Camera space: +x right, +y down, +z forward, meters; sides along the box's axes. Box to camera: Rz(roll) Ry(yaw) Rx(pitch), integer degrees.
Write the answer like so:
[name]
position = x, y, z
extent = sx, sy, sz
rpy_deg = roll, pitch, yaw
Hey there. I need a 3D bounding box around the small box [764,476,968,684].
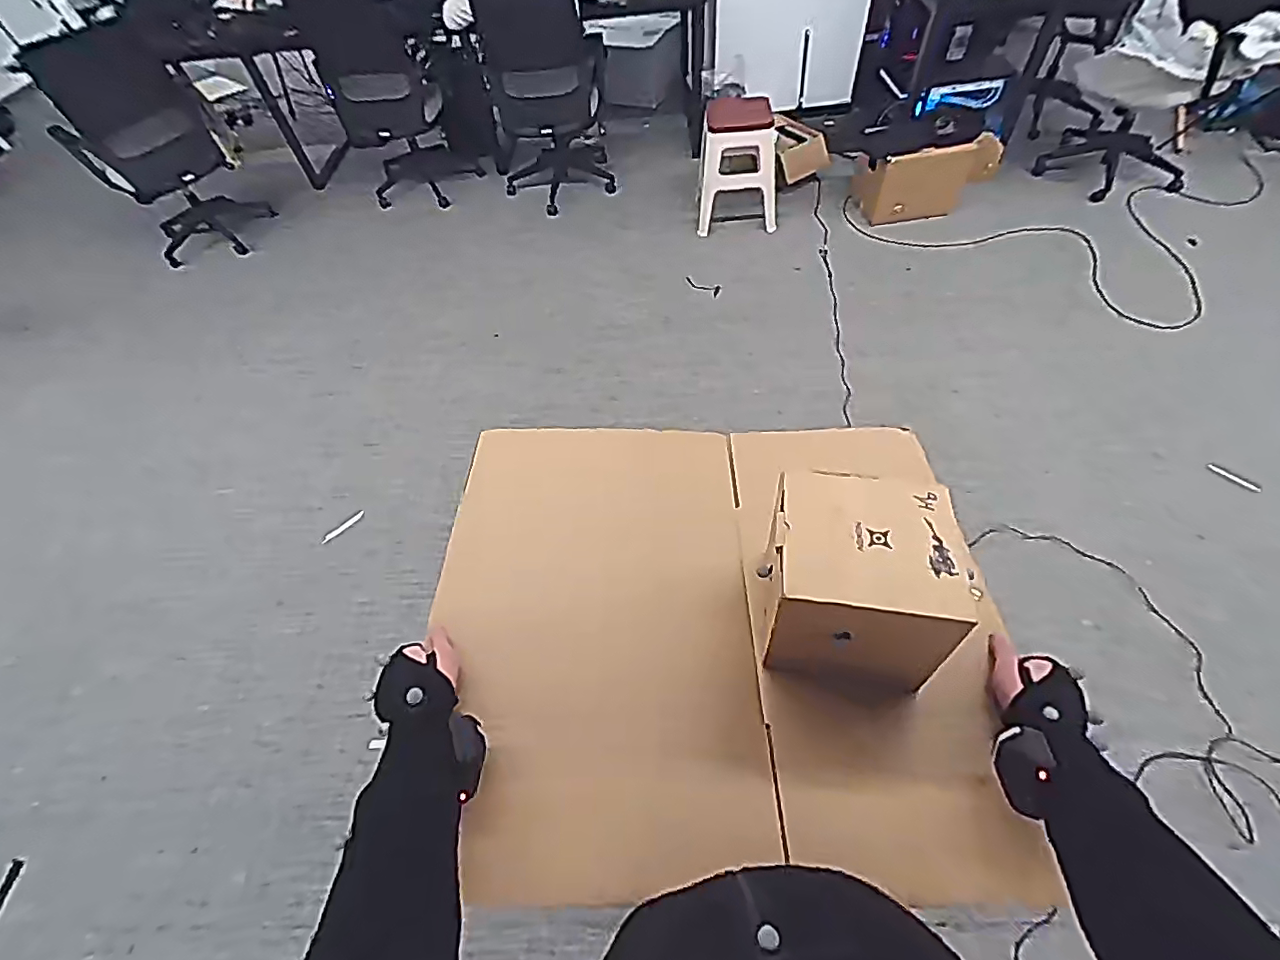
[small box]
position = 0.238, 0.116, 0.618
extent = 0.179, 0.176, 0.168
rpy_deg = 5, 50, 10
